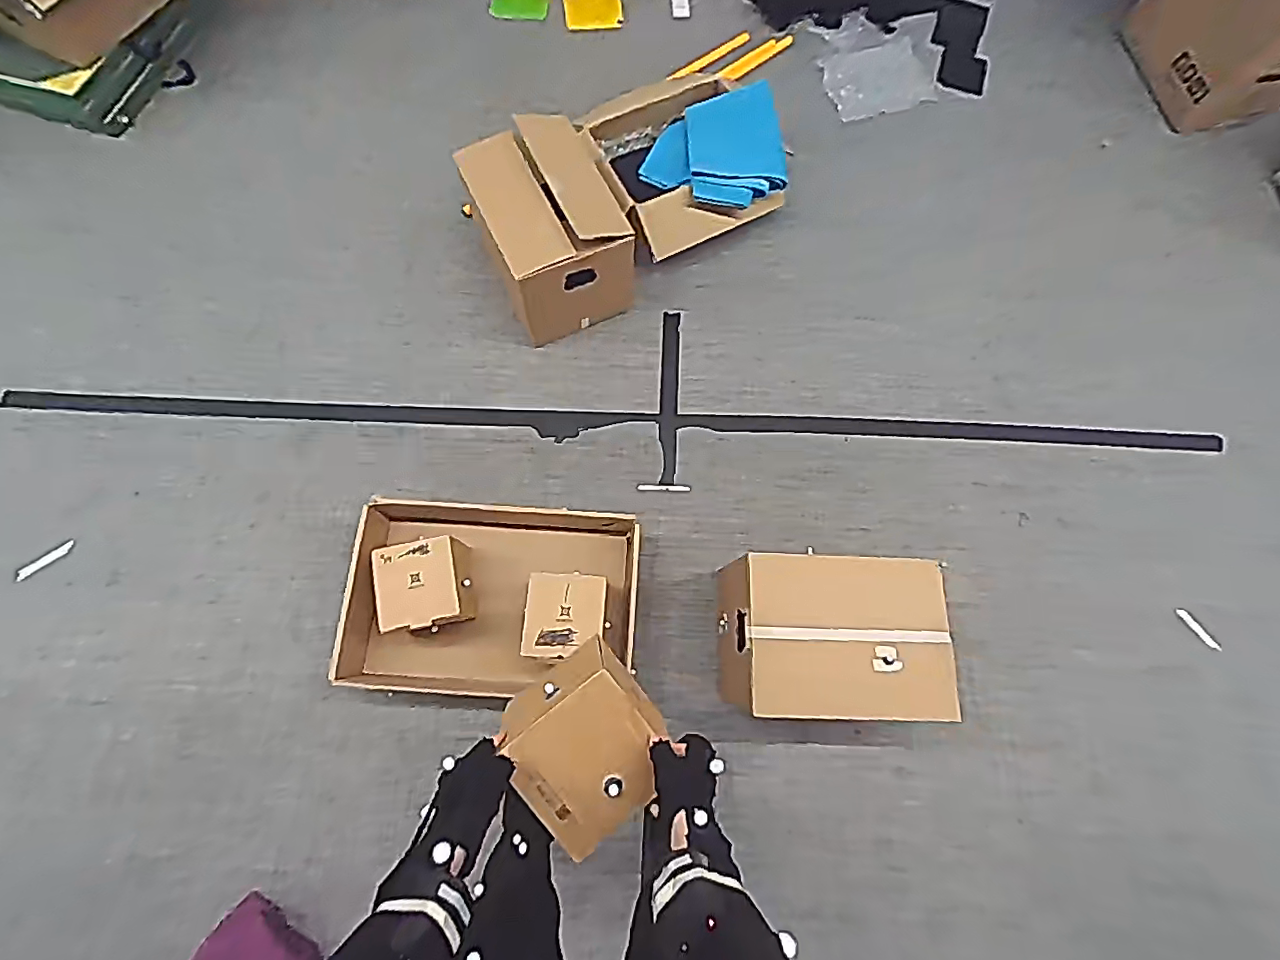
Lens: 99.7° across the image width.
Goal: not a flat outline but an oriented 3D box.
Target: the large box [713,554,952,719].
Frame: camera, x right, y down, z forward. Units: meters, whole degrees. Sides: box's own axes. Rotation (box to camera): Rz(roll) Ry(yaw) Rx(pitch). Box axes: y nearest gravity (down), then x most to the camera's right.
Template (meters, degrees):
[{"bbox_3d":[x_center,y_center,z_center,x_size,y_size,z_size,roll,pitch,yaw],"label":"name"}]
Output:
[{"bbox_3d":[0.394,0.348,1.212,0.408,0.320,0.320,2,74,-4],"label":"large box"}]
